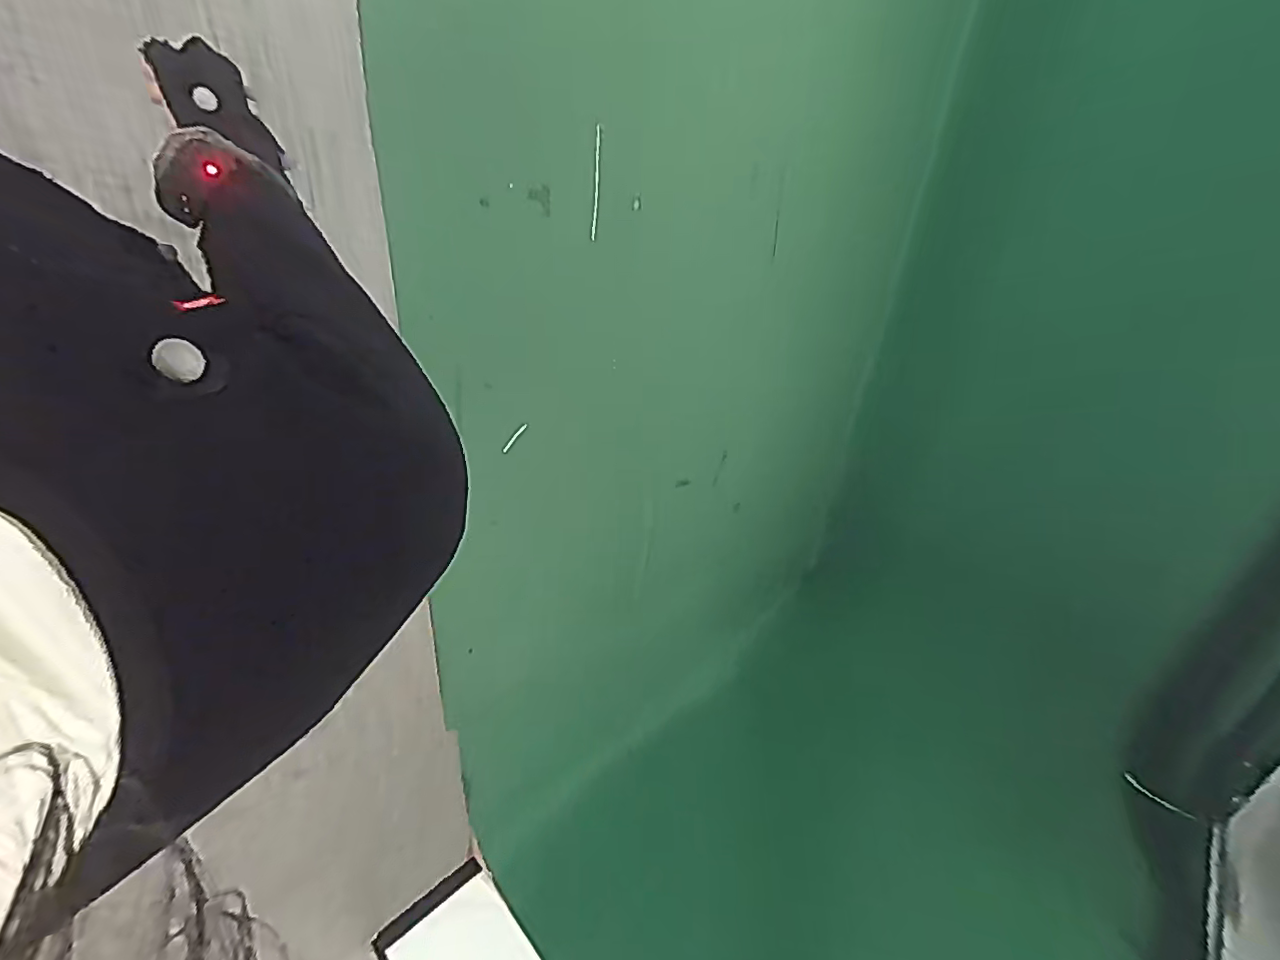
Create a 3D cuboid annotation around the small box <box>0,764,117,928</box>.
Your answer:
[{"bbox_3d":[-1.197,0.722,1.083,0.179,0.176,0.168,-21,128,-40],"label":"small box"}]

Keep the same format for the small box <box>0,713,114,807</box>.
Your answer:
[{"bbox_3d":[-1.307,0.658,1.186,0.179,0.176,0.168,-22,130,-42],"label":"small box"}]
